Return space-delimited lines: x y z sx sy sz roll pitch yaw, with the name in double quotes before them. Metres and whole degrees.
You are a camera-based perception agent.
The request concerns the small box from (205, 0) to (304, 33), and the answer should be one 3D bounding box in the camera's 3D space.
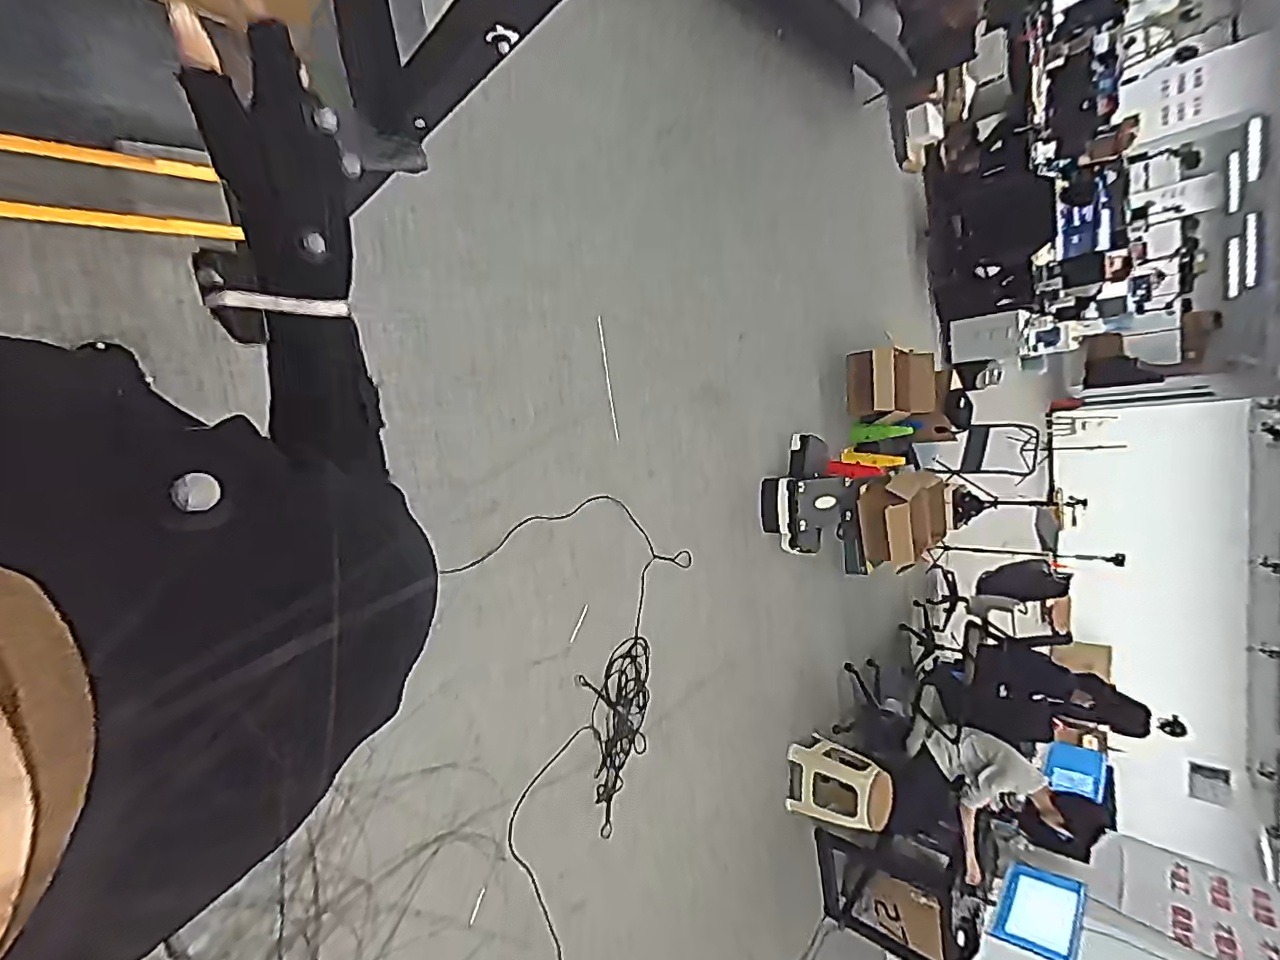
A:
"small box" -0.445 -0.626 0.560 0.168 0.176 0.179 -12 98 -46
